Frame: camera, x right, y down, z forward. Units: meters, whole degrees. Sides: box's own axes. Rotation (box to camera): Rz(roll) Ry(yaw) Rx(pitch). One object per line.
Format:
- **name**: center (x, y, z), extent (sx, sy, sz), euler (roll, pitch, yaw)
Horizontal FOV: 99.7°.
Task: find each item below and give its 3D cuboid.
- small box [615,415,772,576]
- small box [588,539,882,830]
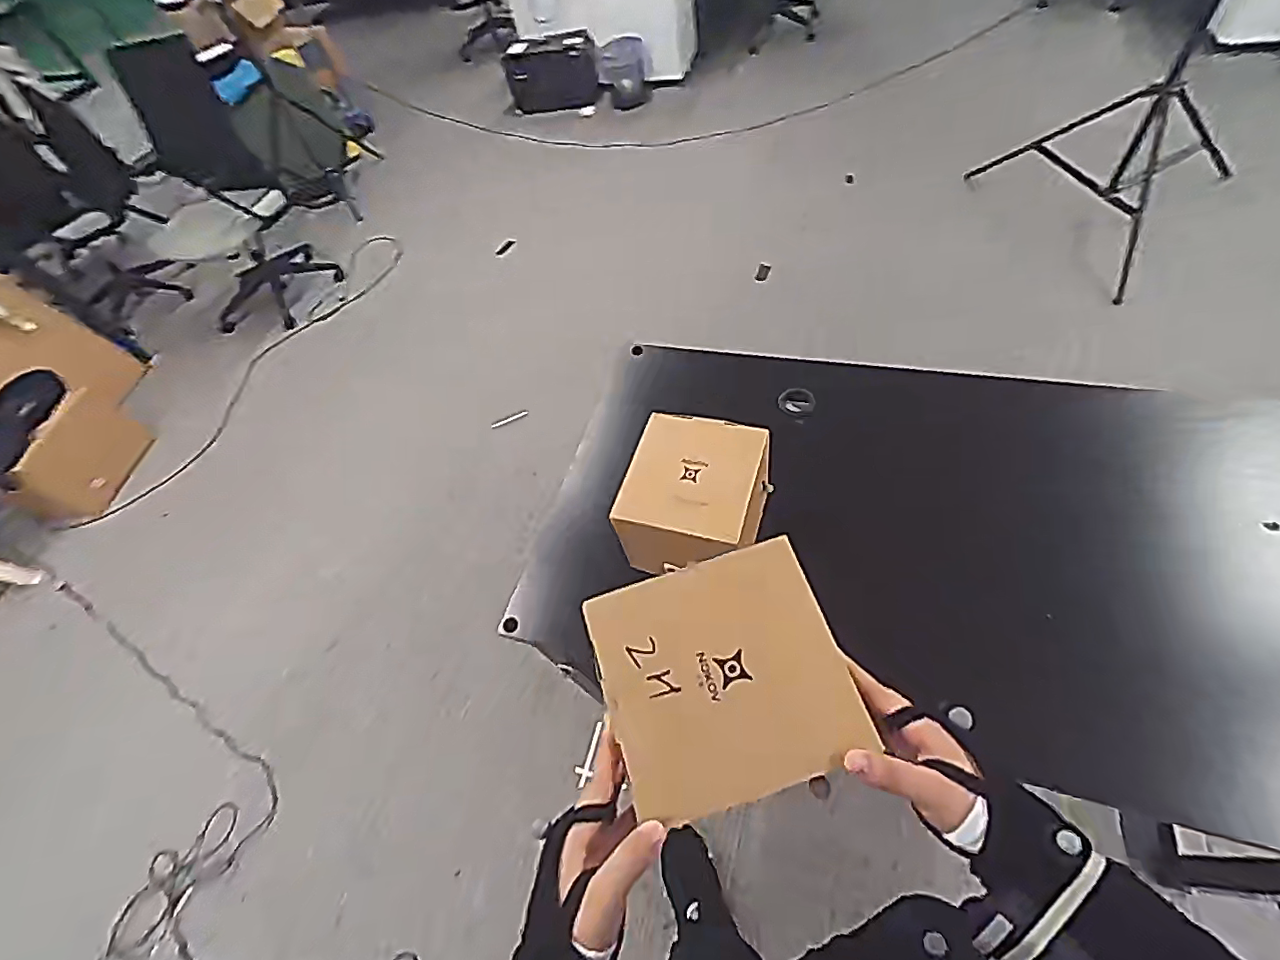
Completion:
- **small box**: center (0.083, 0.037, 0.753), extent (0.168, 0.176, 0.179), euler (10, 60, 19)
- **small box**: center (0.068, 0.172, 0.466), extent (0.179, 0.176, 0.168), euler (-17, 64, -2)
